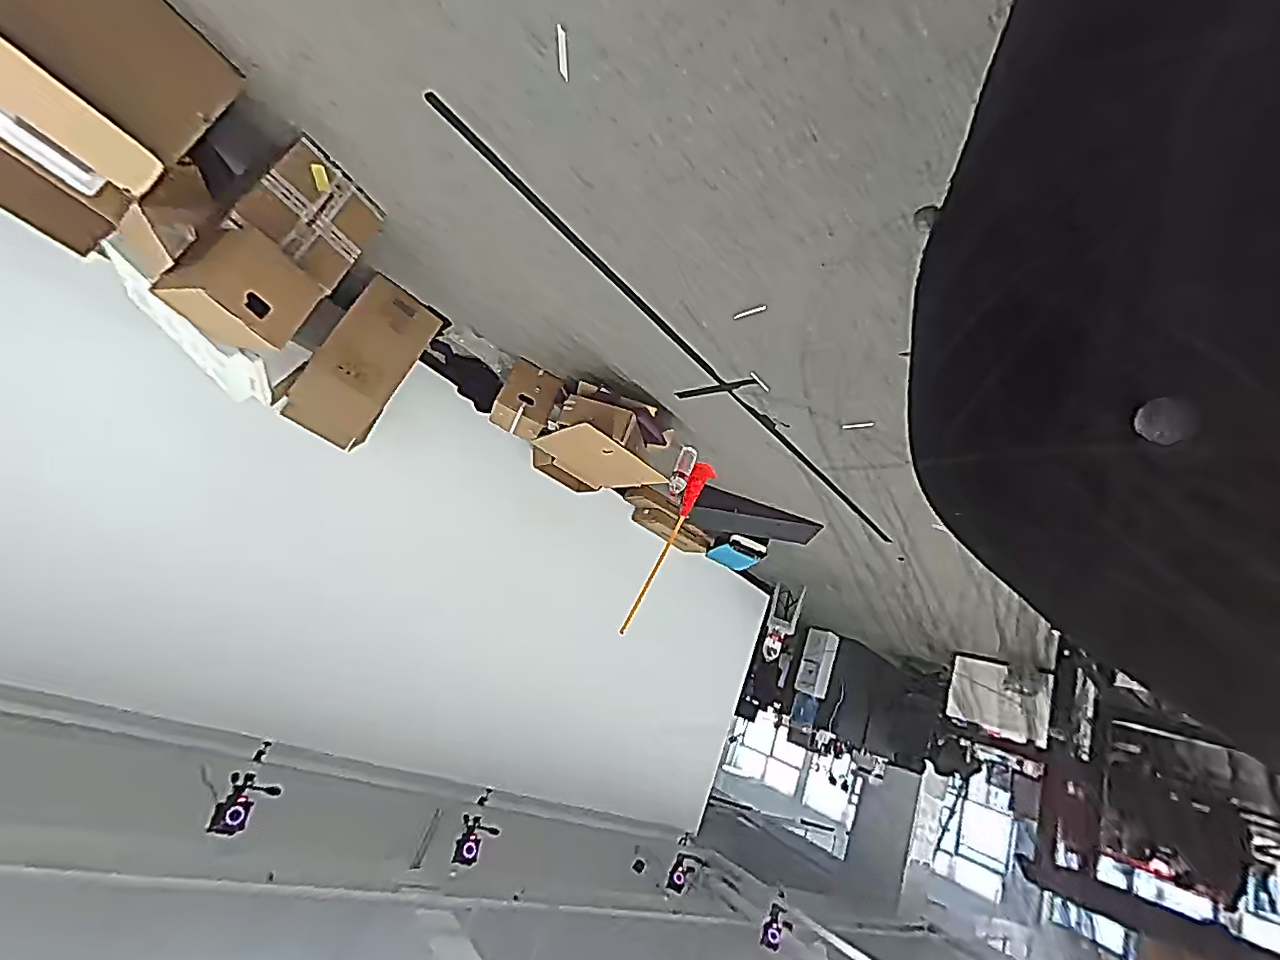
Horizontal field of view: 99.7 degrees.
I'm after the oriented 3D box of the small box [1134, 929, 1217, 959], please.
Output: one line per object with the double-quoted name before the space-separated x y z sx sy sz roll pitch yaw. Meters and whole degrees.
"small box" 1.356 1.261 1.349 0.179 0.176 0.168 35 157 -34
